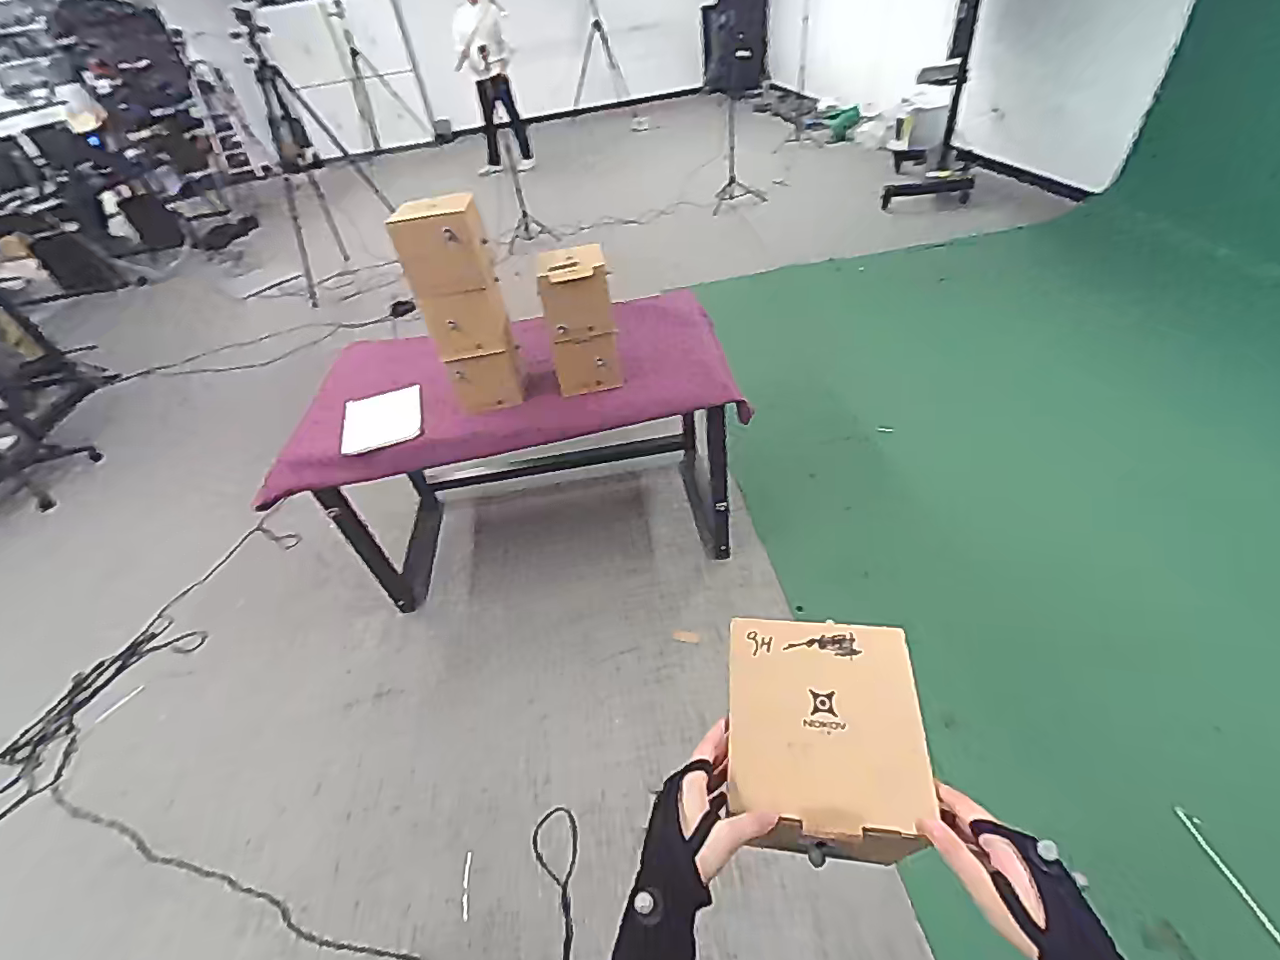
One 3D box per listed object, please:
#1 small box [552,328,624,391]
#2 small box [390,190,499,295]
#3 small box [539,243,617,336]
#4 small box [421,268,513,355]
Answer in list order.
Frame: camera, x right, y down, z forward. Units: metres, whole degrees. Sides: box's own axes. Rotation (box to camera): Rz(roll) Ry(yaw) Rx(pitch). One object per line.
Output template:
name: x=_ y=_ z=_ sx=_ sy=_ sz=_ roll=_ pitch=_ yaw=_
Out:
small box: x=-0.140 y=-0.357 z=1.477 sx=0.168 sy=0.176 sz=0.179 roll=-9 pitch=41 yaw=0
small box: x=-0.438 y=-0.546 z=1.247 sx=0.179 sy=0.176 sz=0.168 roll=-8 pitch=41 yaw=2
small box: x=-0.154 y=-0.476 z=1.365 sx=0.168 sy=0.176 sz=0.179 roll=-10 pitch=41 yaw=-2
small box: x=-0.426 y=-0.427 z=1.361 sx=0.168 sy=0.176 sz=0.179 roll=-10 pitch=41 yaw=0
